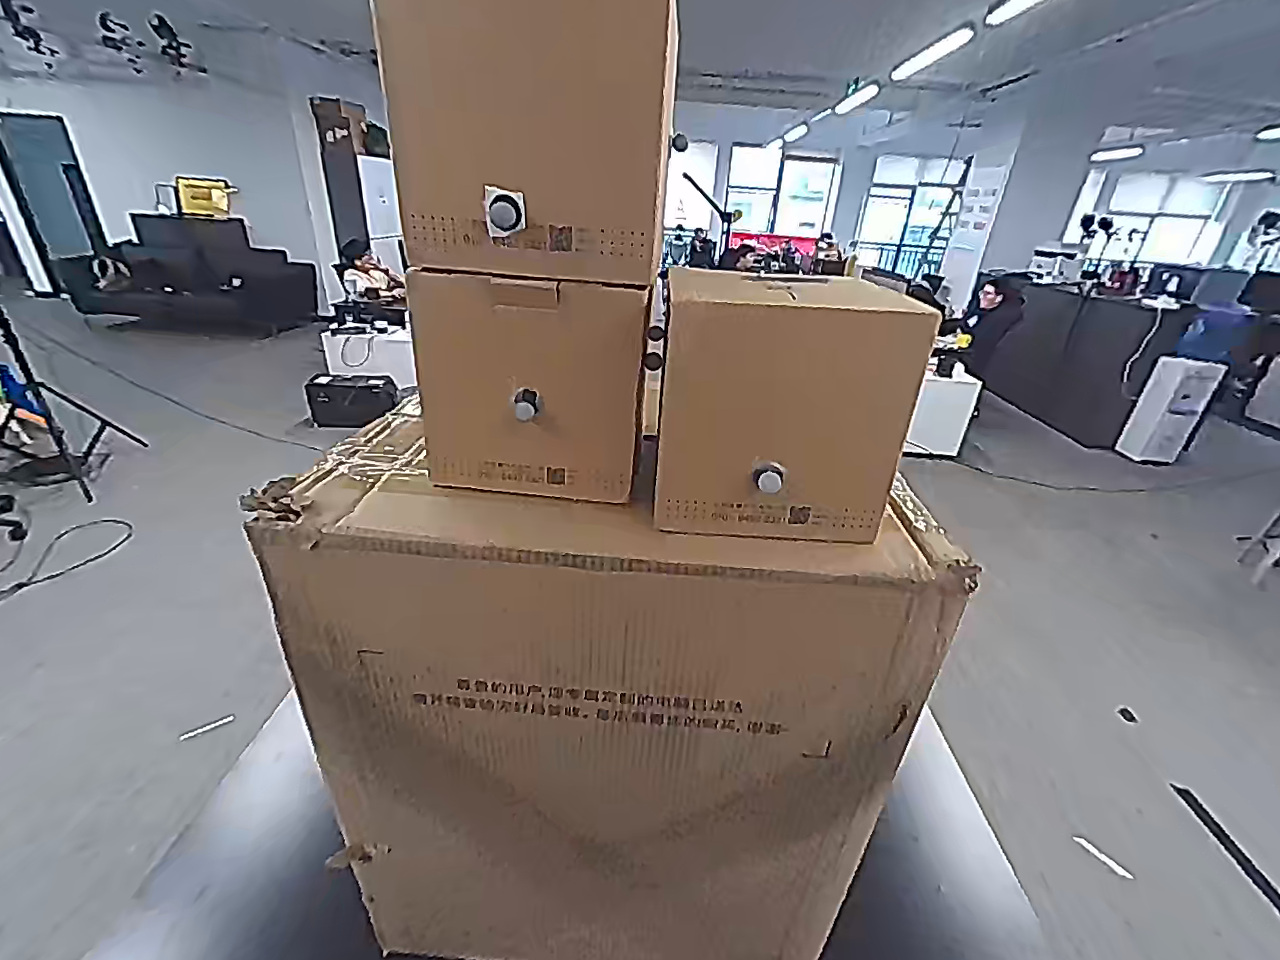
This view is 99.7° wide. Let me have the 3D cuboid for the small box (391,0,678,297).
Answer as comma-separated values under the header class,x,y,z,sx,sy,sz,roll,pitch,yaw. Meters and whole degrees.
class,x,y,z,sx,sy,sz,roll,pitch,yaw
small box,-0.061,-0.242,0.401,0.168,0.176,0.179,4,29,1
